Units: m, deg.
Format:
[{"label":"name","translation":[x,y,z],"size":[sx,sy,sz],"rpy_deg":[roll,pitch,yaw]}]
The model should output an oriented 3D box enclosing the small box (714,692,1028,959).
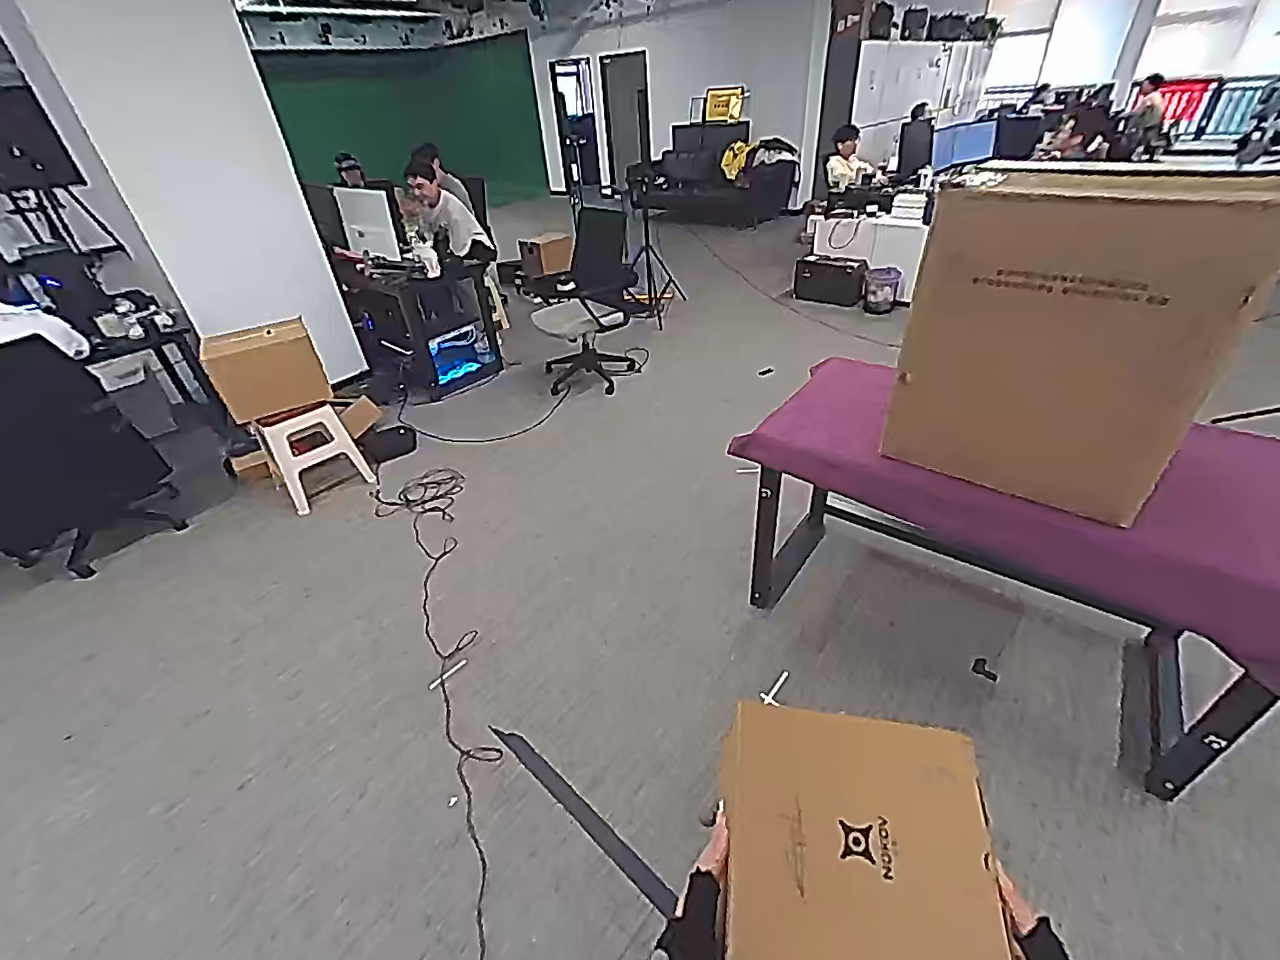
[{"label":"small box","translation":[0.157,0.287,0.428],"size":[0.179,0.176,0.168],"rpy_deg":[5,52,7]}]
